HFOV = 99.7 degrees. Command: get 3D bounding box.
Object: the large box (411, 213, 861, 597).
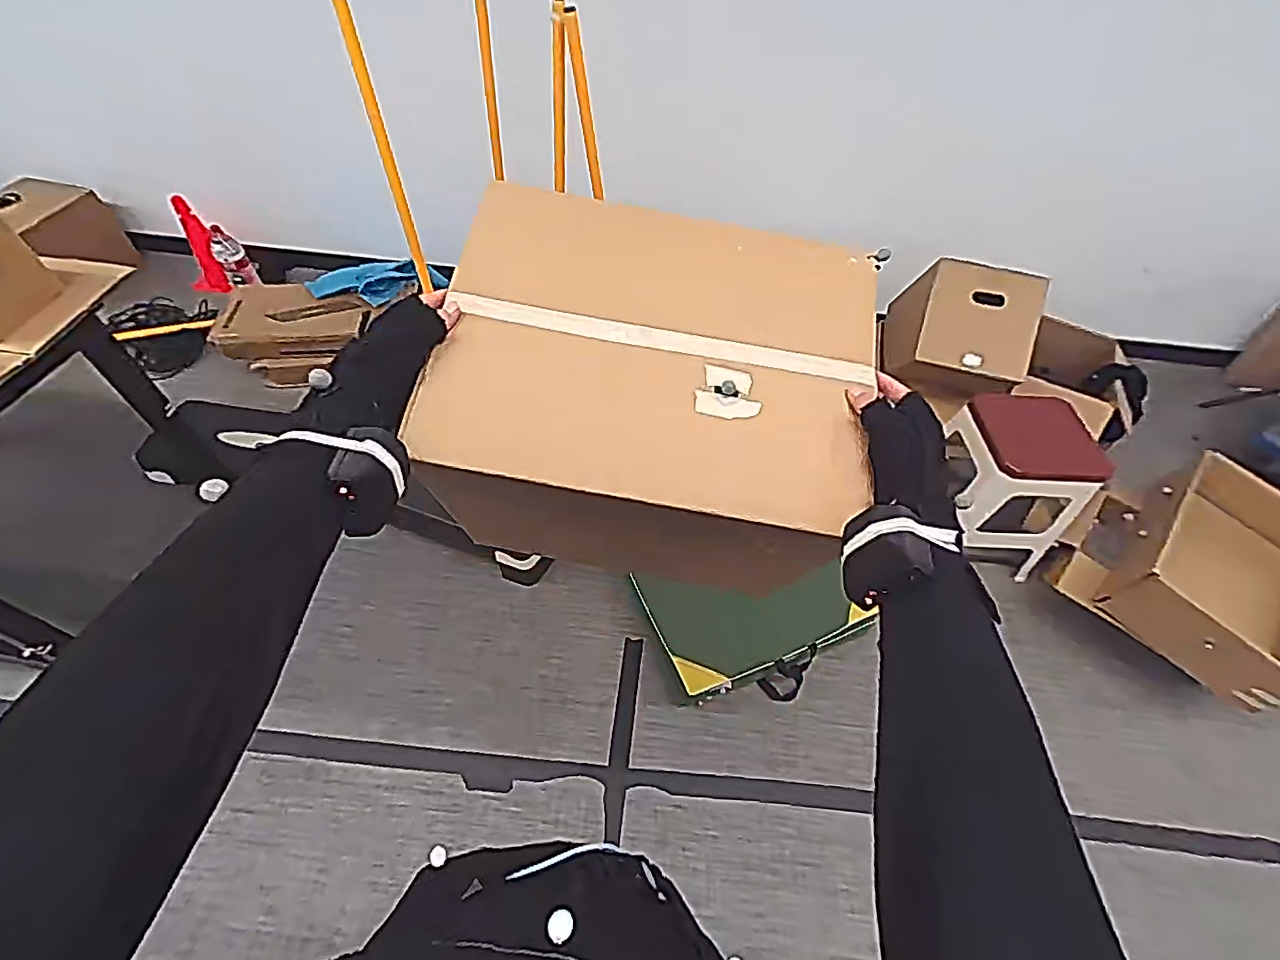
[{"bbox_3d":[0.004,-0.061,0.659,0.408,0.320,0.320,10,69,-1],"label":"large box"}]
